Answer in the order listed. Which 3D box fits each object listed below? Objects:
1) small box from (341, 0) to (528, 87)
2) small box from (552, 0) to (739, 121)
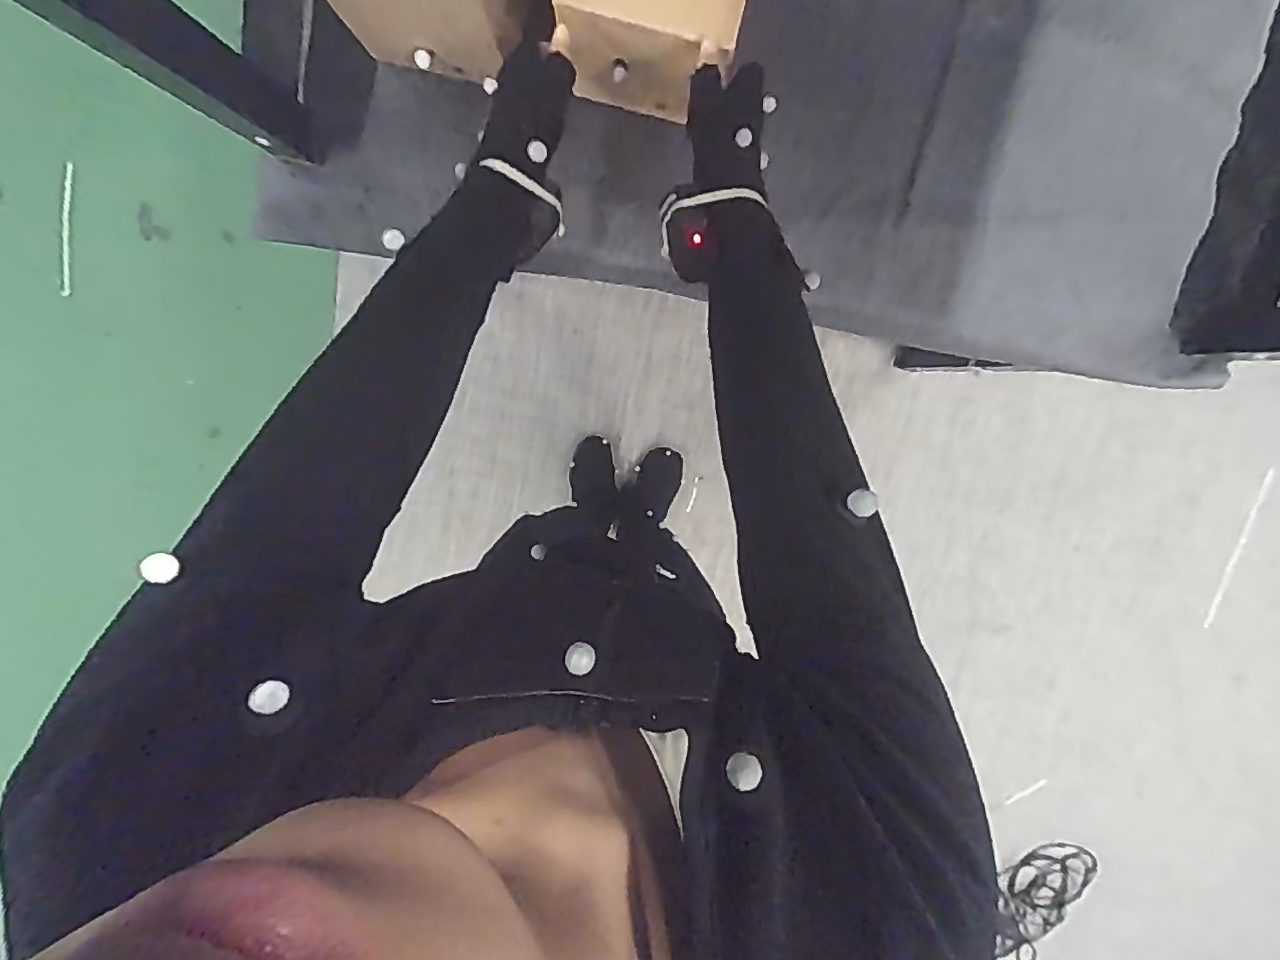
[{"bbox_3d":[-0.206,-0.535,0.527,0.168,0.176,0.179,11,101,-3],"label":"small box"},{"bbox_3d":[0.019,-0.501,0.539,0.168,0.176,0.179,12,100,-4],"label":"small box"}]
